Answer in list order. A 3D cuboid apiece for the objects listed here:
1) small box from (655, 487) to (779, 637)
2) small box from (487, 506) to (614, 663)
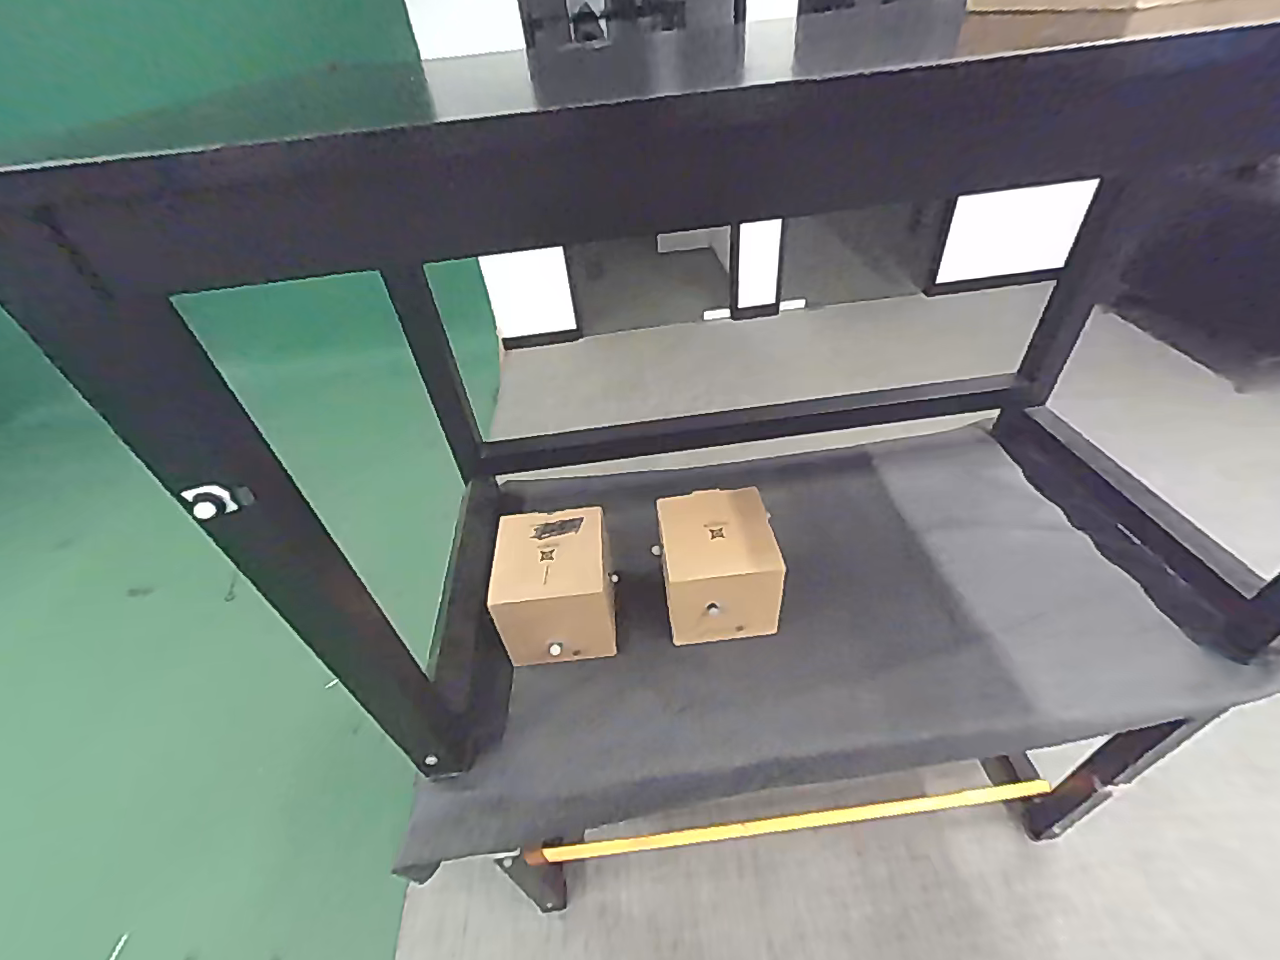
[{"bbox_3d":[0.118,0.137,0.871,0.168,0.176,0.179,-7,41,0],"label":"small box"},{"bbox_3d":[-0.133,0.167,0.867,0.168,0.176,0.179,-7,42,0],"label":"small box"}]
